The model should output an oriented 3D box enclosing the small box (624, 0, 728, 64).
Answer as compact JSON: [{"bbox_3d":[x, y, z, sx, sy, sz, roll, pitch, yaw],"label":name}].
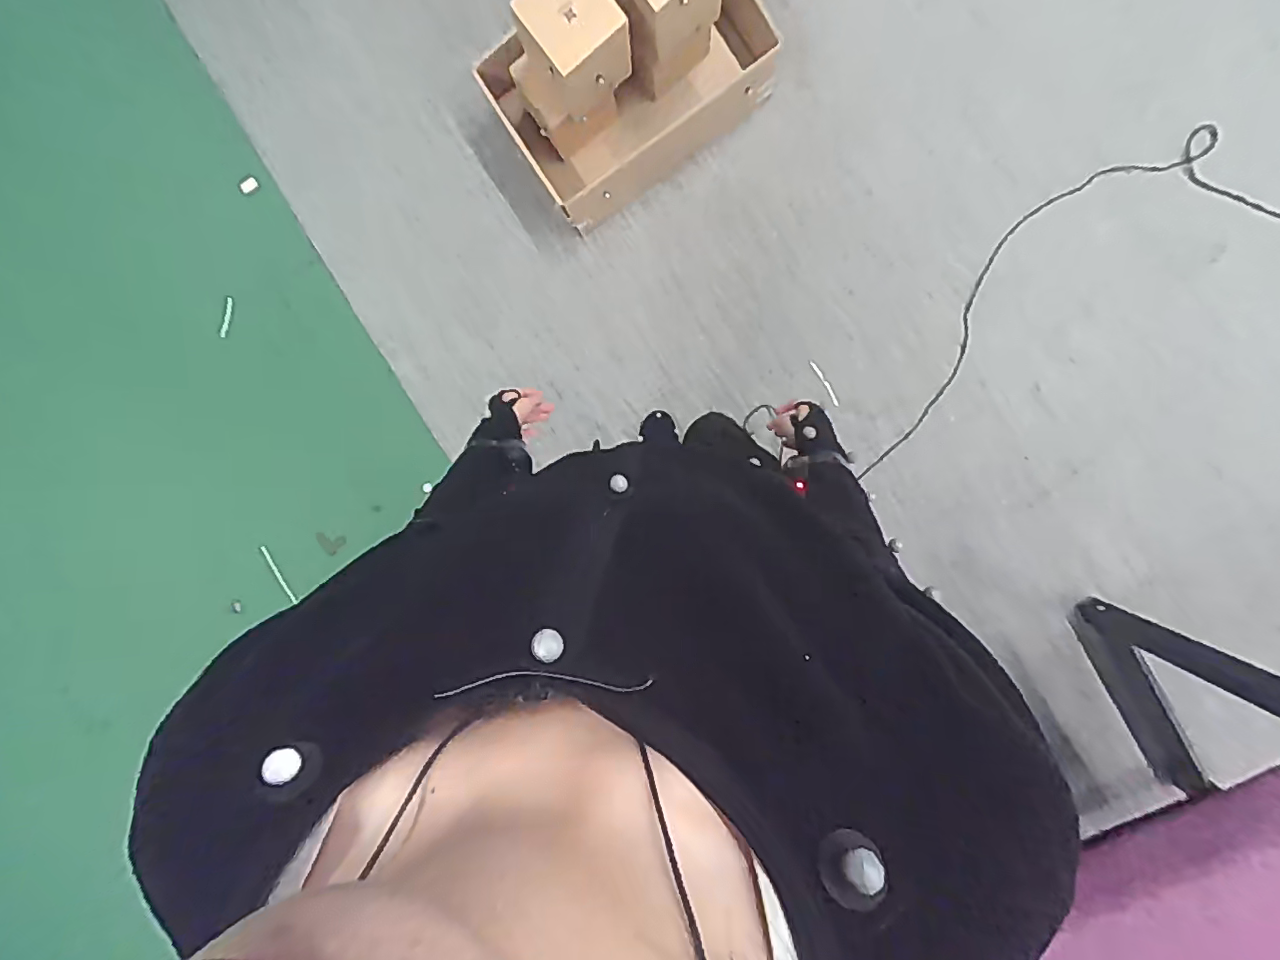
[{"bbox_3d":[0.066,-1.020,1.106,0.168,0.176,0.179,-36,91,10],"label":"small box"}]

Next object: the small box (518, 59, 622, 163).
[{"bbox_3d":[-0.159,-0.917,1.305,0.179,0.176,0.168,-37,93,6],"label":"small box"}]

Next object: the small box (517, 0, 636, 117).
[{"bbox_3d":[-0.123,-0.912,1.138,0.168,0.176,0.179,-38,92,6],"label":"small box"}]

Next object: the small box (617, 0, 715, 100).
[{"bbox_3d":[0.065,-1.052,1.268,0.179,0.176,0.168,-40,91,9],"label":"small box"}]
